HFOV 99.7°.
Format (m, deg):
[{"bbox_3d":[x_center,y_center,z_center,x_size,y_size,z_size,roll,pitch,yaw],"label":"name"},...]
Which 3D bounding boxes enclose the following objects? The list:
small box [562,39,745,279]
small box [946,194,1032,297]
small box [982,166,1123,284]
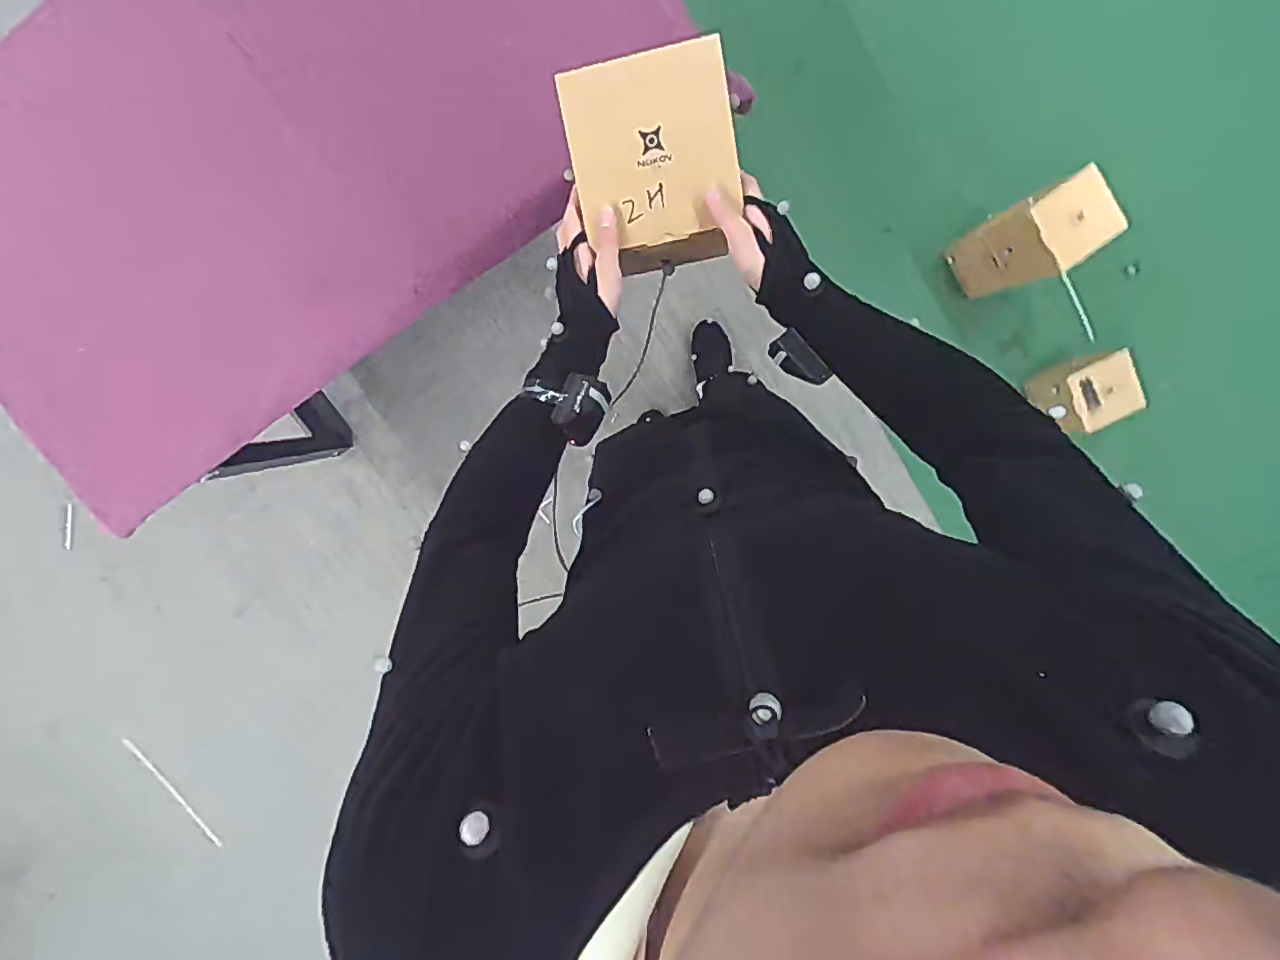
[{"bbox_3d":[0.018,-0.345,0.619,0.168,0.176,0.179,-9,102,5],"label":"small box"},{"bbox_3d":[0.967,-0.621,1.458,0.179,0.176,0.168,-35,97,3],"label":"small box"},{"bbox_3d":[0.978,-0.601,1.298,0.179,0.176,0.168,-36,97,5],"label":"small box"}]
